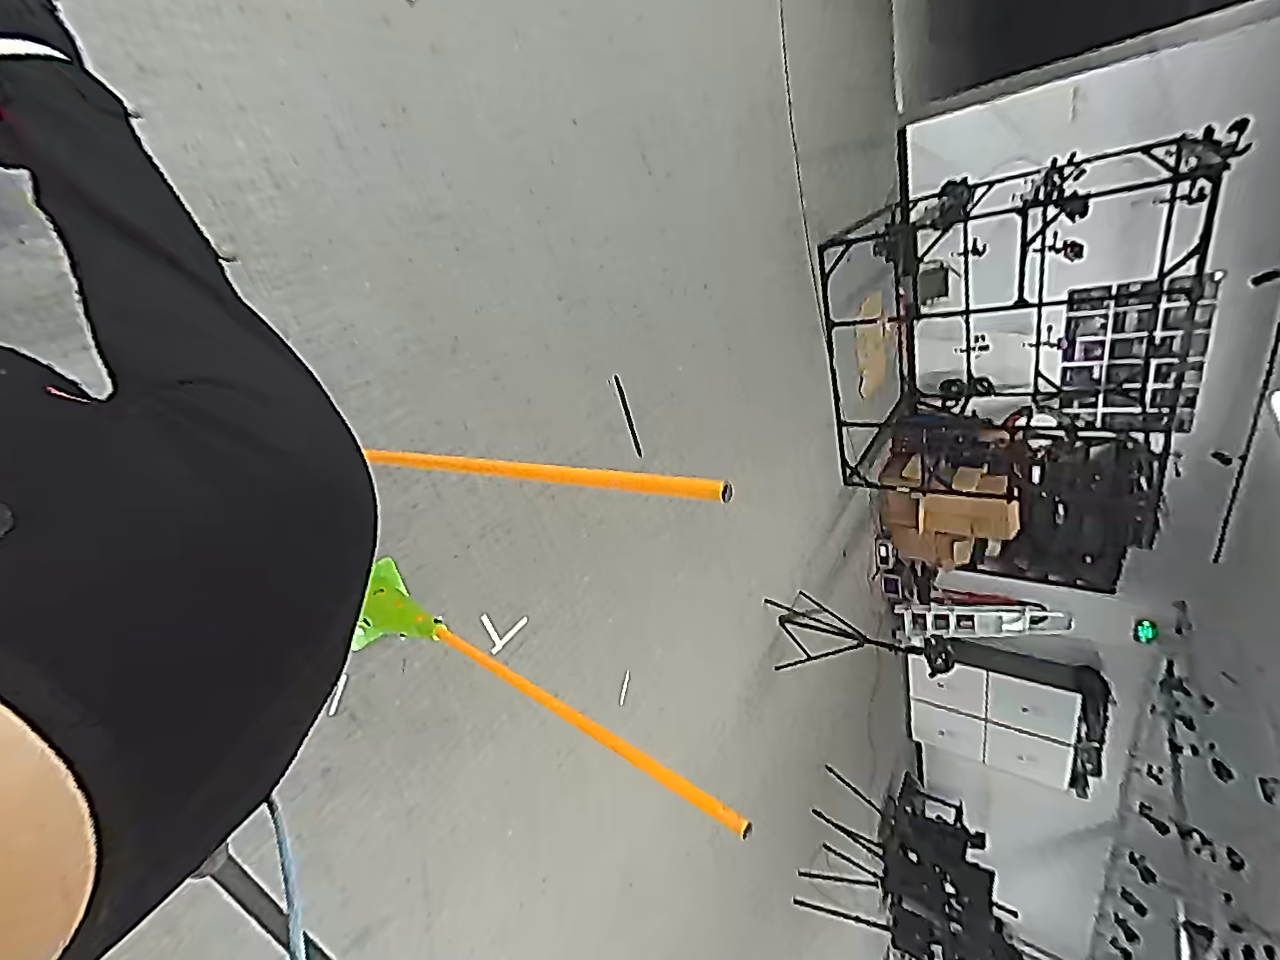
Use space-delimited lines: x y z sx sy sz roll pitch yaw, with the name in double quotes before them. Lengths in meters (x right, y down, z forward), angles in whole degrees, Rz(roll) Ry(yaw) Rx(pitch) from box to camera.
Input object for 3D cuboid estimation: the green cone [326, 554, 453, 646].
"green cone" -0.616 0.347 1.414 0.202 0.368 0.200 -38 123 -45
